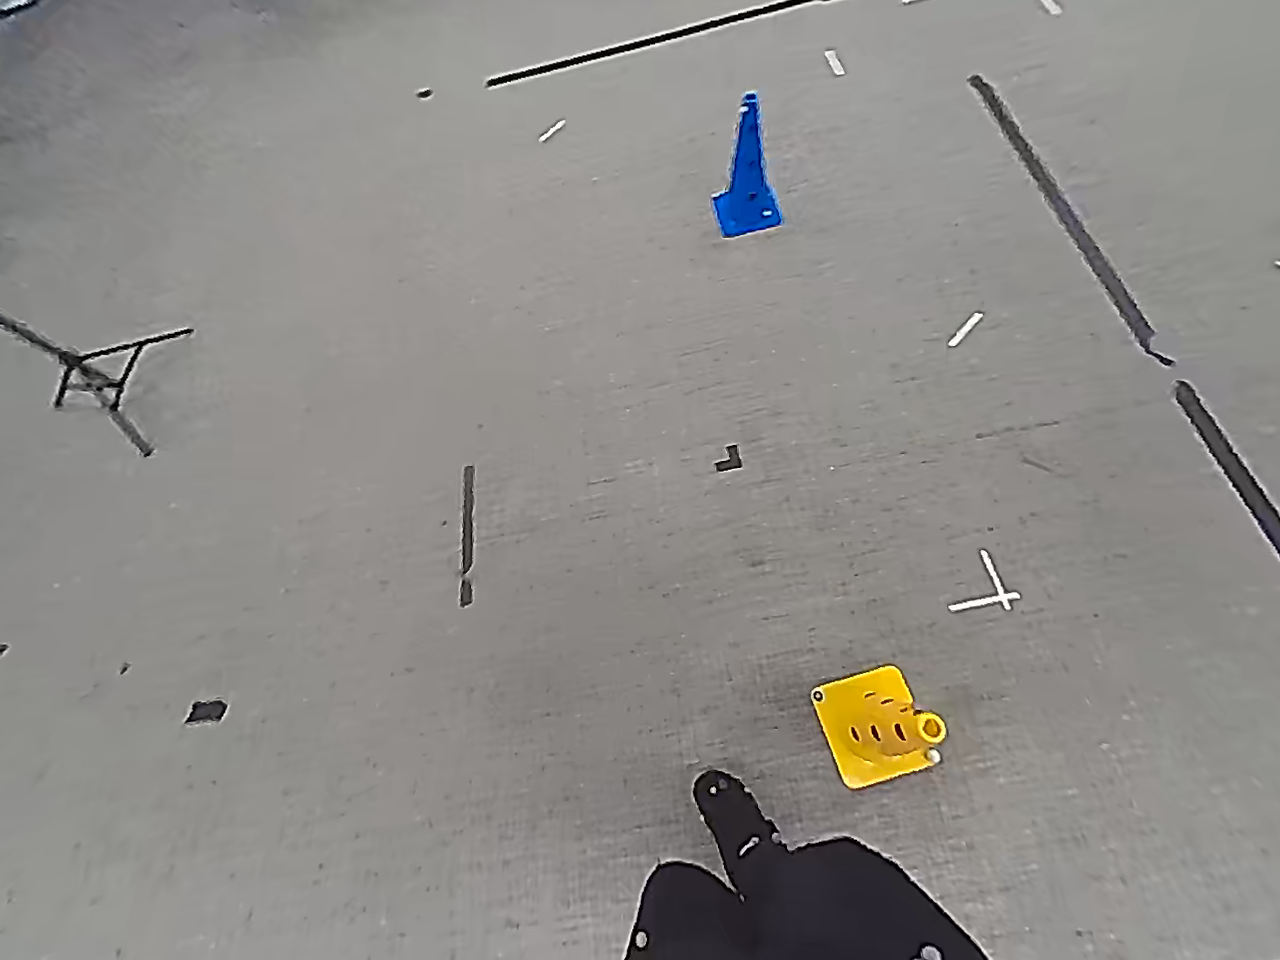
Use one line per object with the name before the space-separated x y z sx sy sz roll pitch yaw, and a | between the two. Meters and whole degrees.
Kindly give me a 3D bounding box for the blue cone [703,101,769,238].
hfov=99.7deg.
blue cone | 0.290 -0.946 1.630 0.192 0.380 0.193 -12 65 5
